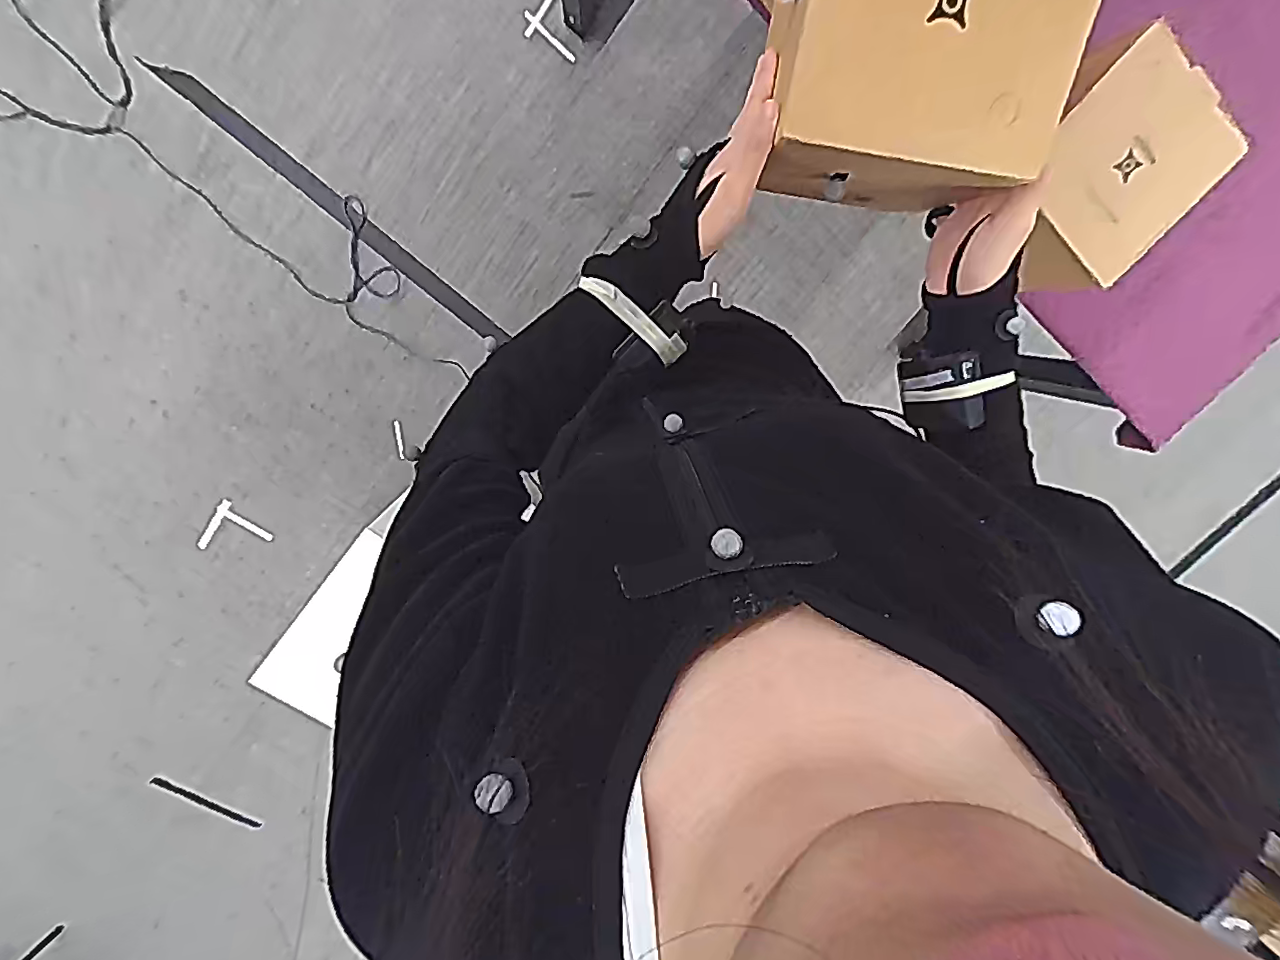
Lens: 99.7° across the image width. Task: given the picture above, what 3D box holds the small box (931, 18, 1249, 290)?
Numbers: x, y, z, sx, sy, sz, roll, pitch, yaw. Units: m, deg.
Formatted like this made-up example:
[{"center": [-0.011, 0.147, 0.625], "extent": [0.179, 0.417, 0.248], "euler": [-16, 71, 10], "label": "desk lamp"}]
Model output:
[{"center": [0.474, -0.335, 0.601], "extent": [0.168, 0.176, 0.179], "euler": [38, 103, -13], "label": "small box"}]

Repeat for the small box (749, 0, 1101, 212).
[{"center": [0.181, -0.304, 0.381], "extent": [0.168, 0.176, 0.179], "euler": [9, 108, -1], "label": "small box"}]
